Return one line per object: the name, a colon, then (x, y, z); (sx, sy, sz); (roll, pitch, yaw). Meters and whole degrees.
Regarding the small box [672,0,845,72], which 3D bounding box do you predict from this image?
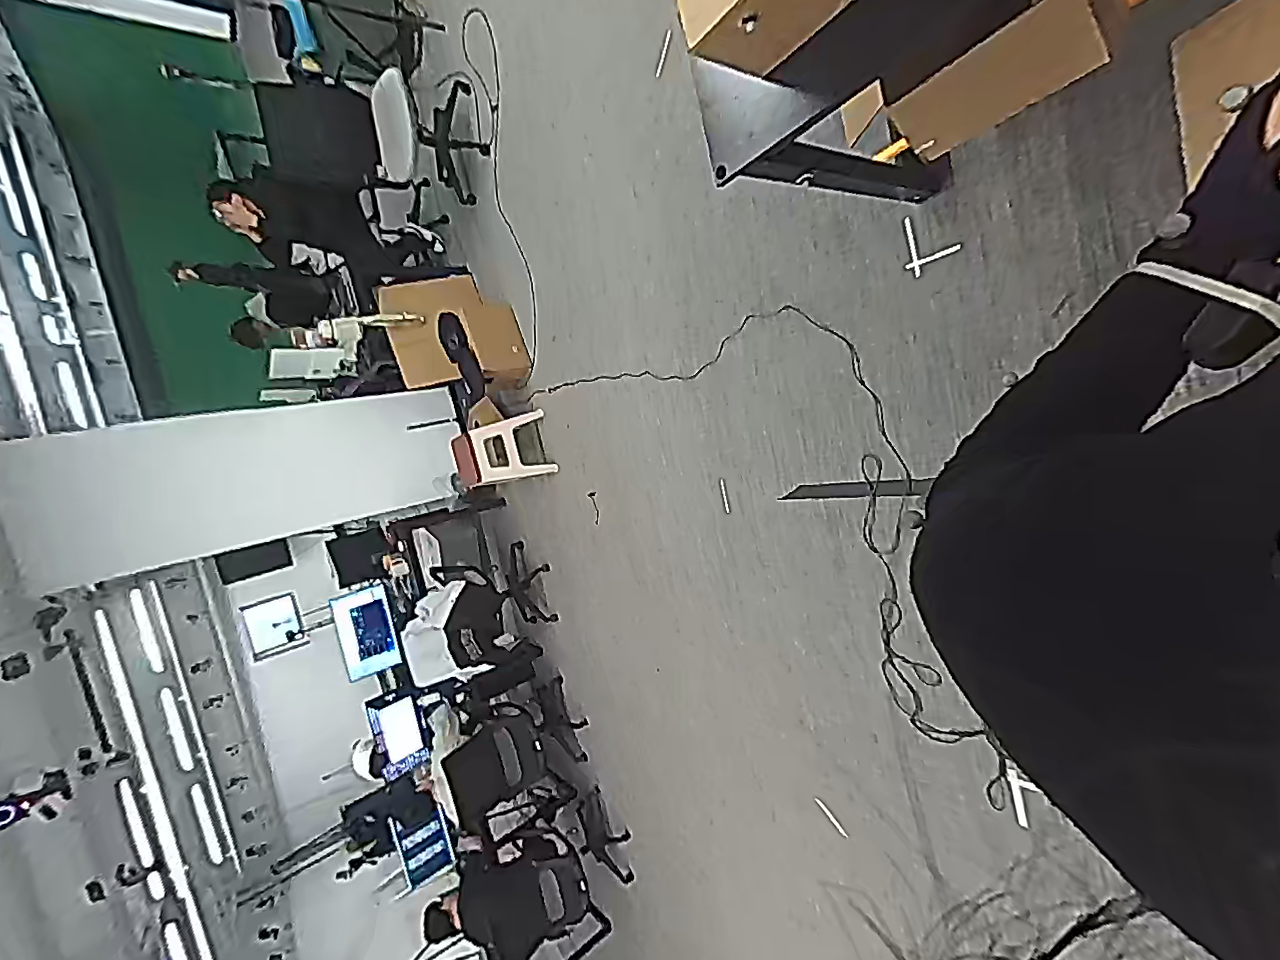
small box: (0.154, -0.690, 0.720); (0.179, 0.176, 0.168); (-5, 100, 53)
